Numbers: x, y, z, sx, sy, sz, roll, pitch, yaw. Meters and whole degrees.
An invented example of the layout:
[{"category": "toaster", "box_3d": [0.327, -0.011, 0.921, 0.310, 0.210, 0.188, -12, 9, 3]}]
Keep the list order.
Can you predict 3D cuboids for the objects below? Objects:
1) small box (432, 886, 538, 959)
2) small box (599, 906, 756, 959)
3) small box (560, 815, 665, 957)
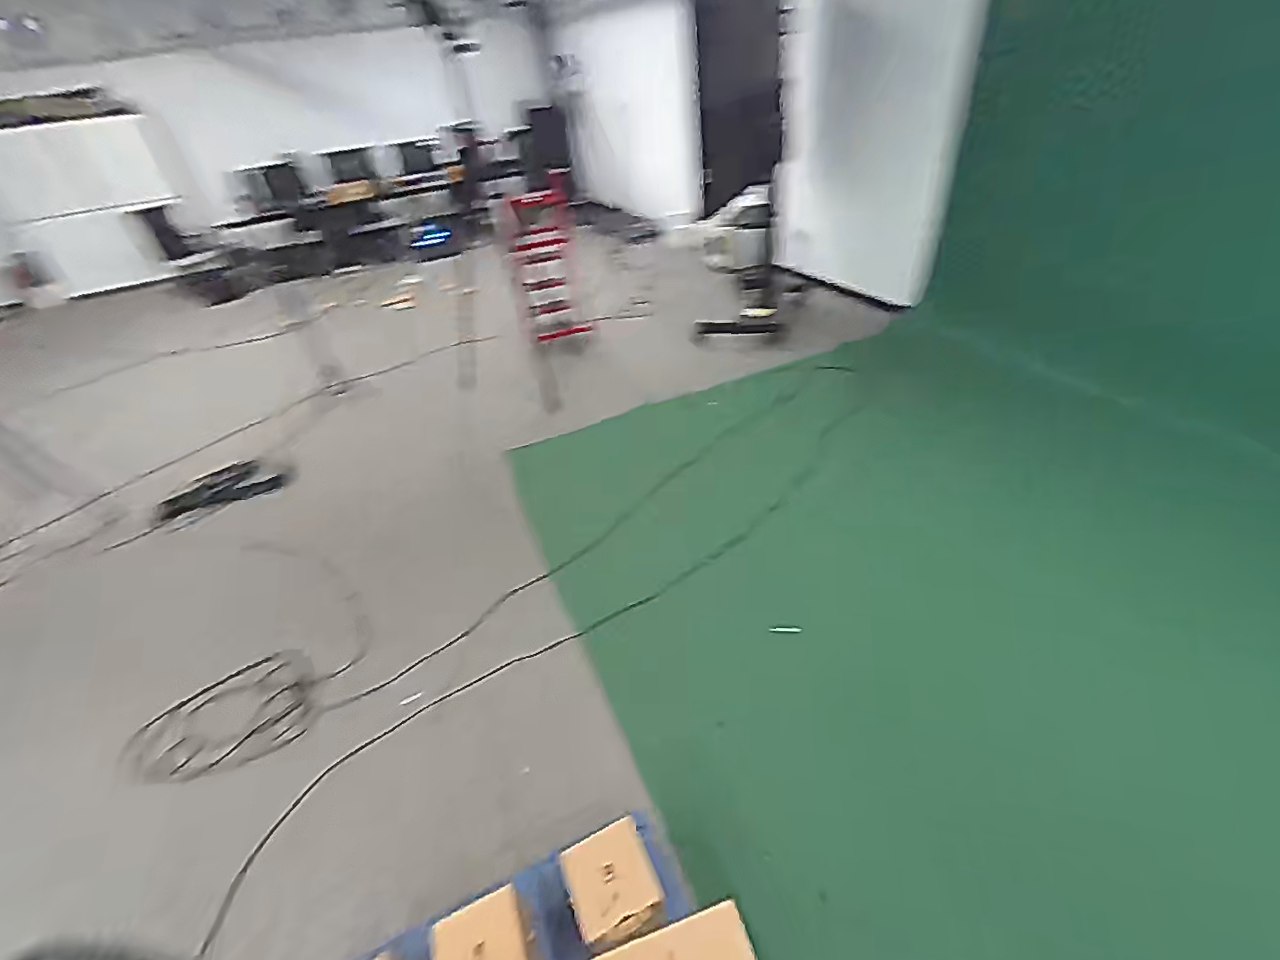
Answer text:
[{"category": "small box", "box_3d": [-0.308, 0.989, 1.105, 0.168, 0.176, 0.179, -20, 40, -16]}, {"category": "small box", "box_3d": [0.064, 0.600, 0.560, 0.168, 0.176, 0.179, -15, 33, -9]}, {"category": "small box", "box_3d": [-0.058, 0.889, 1.183, 0.168, 0.176, 0.179, -22, 40, -16]}]
